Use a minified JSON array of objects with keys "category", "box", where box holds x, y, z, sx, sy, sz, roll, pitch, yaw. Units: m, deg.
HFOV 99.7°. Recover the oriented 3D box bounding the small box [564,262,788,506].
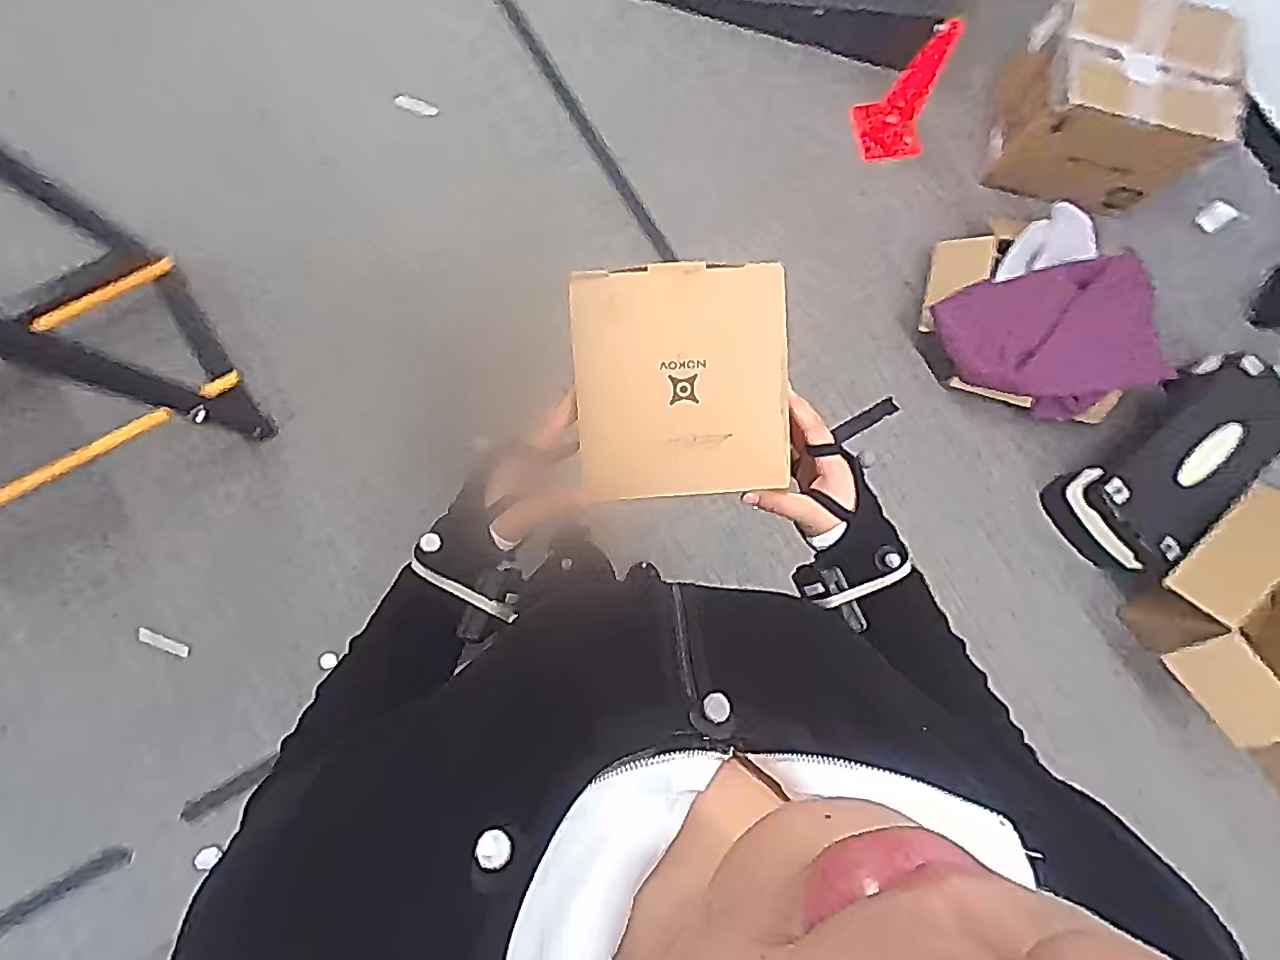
[{"category":"small box","box":[0.024,-0.079,0.488,0.168,0.176,0.179,-5,97,-3]}]
